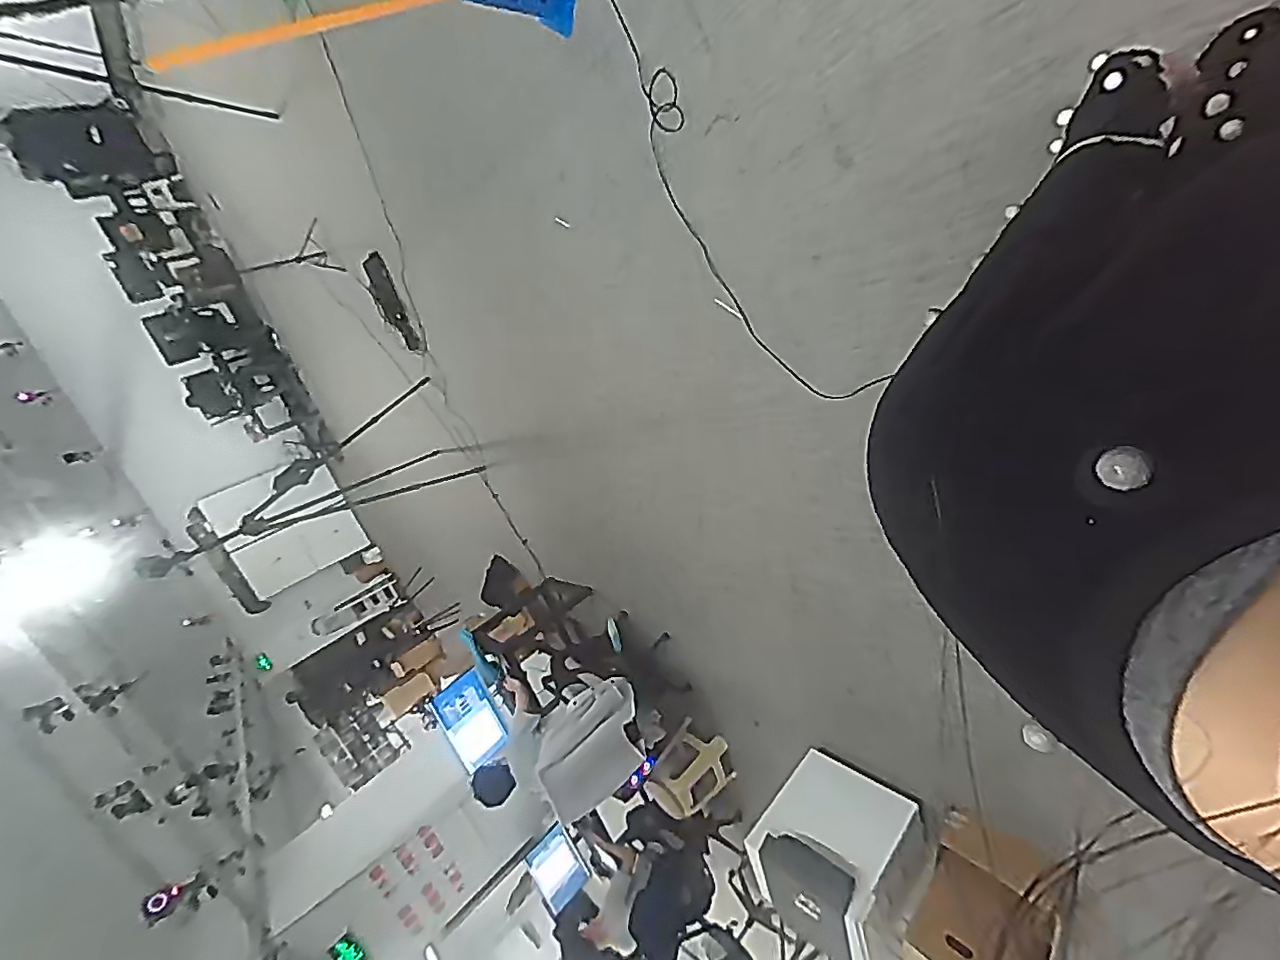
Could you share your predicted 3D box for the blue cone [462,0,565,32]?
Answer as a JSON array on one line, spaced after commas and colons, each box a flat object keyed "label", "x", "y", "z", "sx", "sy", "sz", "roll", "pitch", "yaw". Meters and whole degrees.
[{"label": "blue cone", "x": -0.413, "y": -1.489, "z": 1.639, "sx": 0.192, "sy": 0.380, "sz": 0.193, "roll": 41, "pitch": 145, "yaw": 20}]
